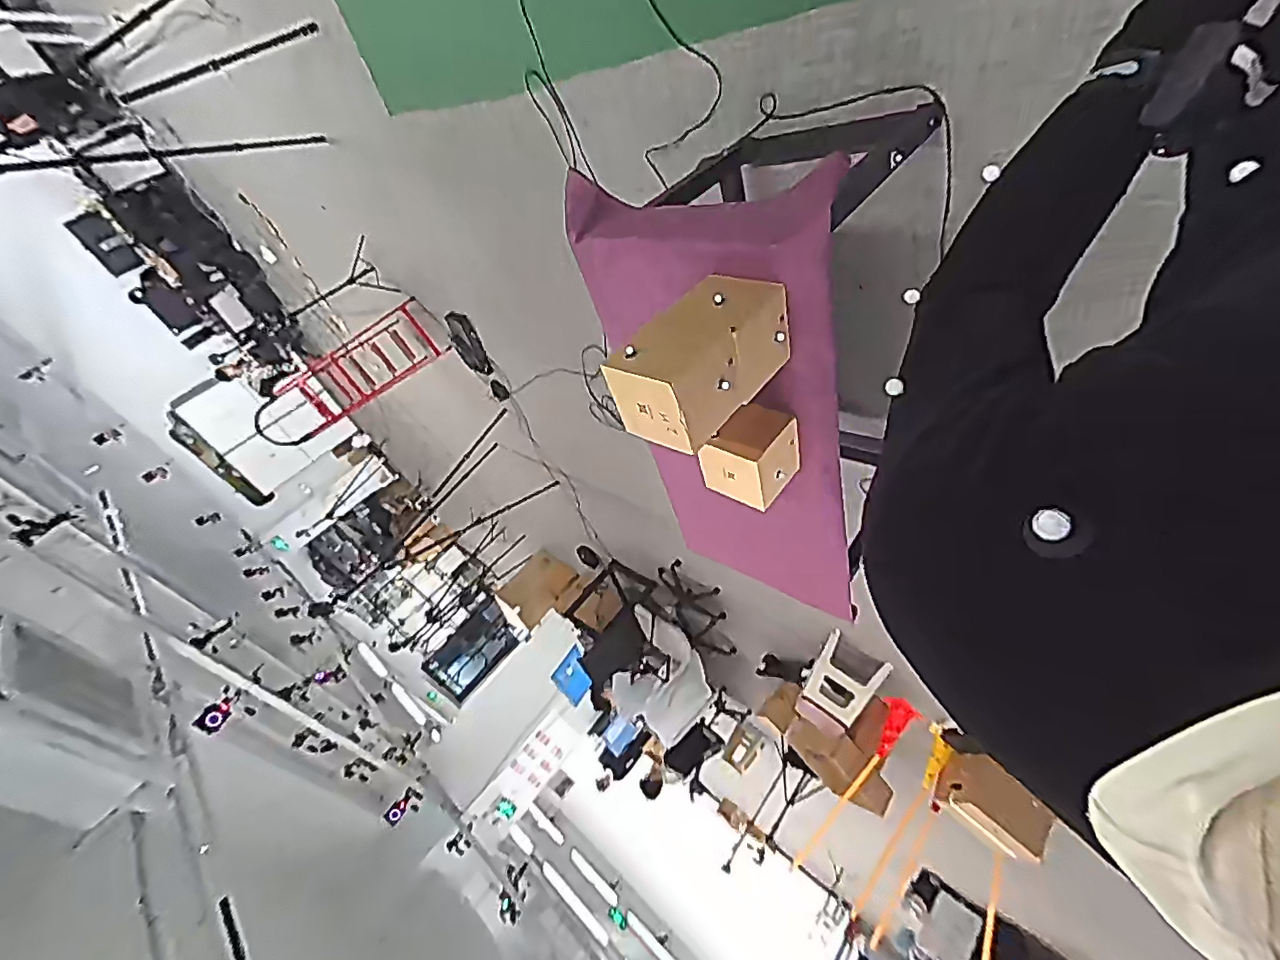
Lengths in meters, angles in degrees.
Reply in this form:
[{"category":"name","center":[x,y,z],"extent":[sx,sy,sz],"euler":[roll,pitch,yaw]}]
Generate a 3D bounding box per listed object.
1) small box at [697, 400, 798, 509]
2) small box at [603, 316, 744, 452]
[{"category":"small box","center":[0.263,-0.067,1.288],"extent":[0.179,0.176,0.168],"euler":[26,150,38]},{"category":"small box","center":[0.067,-0.184,1.001],"extent":[0.179,0.176,0.168],"euler":[24,150,38]}]
